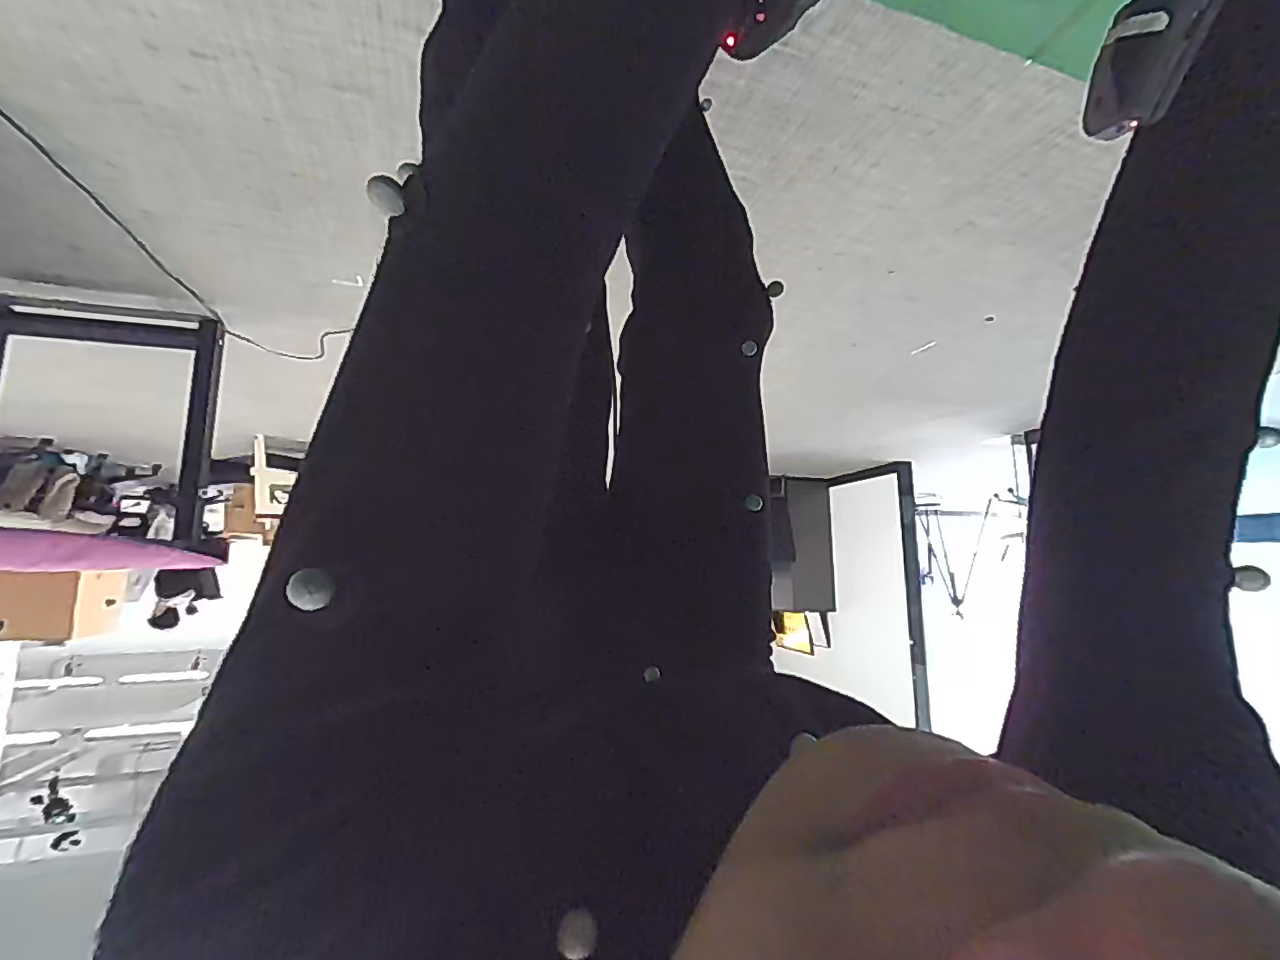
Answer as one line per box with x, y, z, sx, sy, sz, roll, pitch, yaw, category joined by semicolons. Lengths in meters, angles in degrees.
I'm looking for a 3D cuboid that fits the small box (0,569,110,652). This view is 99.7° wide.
-1.365;0.291;1.234;0.179;0.176;0.168;3;170;-15;small box
